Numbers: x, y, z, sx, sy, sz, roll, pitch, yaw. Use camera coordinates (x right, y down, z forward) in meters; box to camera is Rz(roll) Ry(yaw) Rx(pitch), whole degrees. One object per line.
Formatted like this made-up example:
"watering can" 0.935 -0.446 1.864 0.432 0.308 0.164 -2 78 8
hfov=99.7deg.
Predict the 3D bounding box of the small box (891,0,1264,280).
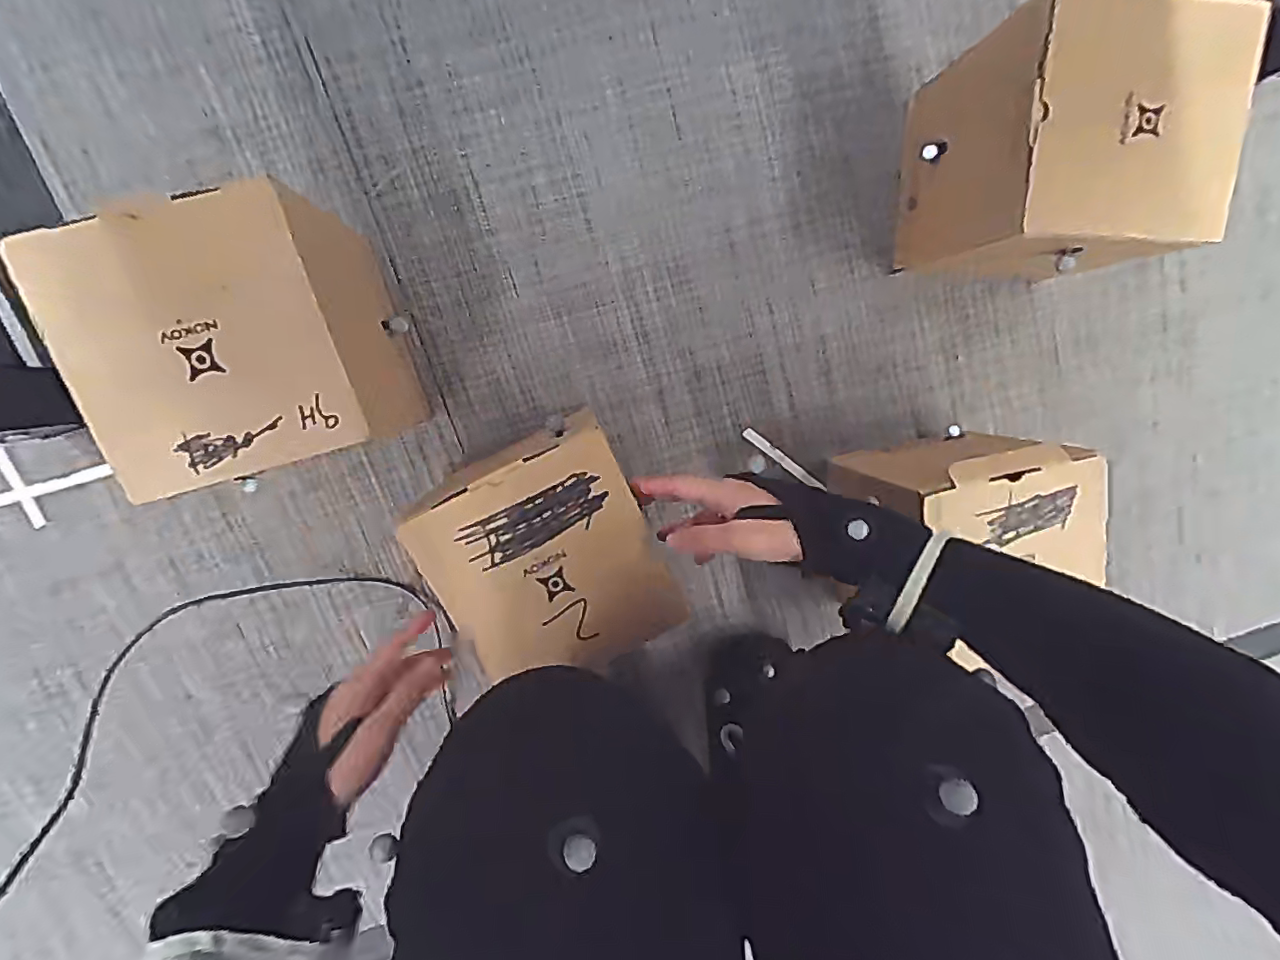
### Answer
"small box" 0.356 -0.277 0.476 0.179 0.176 0.168 -1 101 -6

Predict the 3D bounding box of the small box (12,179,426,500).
"small box" -0.292 -0.099 0.426 0.168 0.176 0.179 -15 101 -4
